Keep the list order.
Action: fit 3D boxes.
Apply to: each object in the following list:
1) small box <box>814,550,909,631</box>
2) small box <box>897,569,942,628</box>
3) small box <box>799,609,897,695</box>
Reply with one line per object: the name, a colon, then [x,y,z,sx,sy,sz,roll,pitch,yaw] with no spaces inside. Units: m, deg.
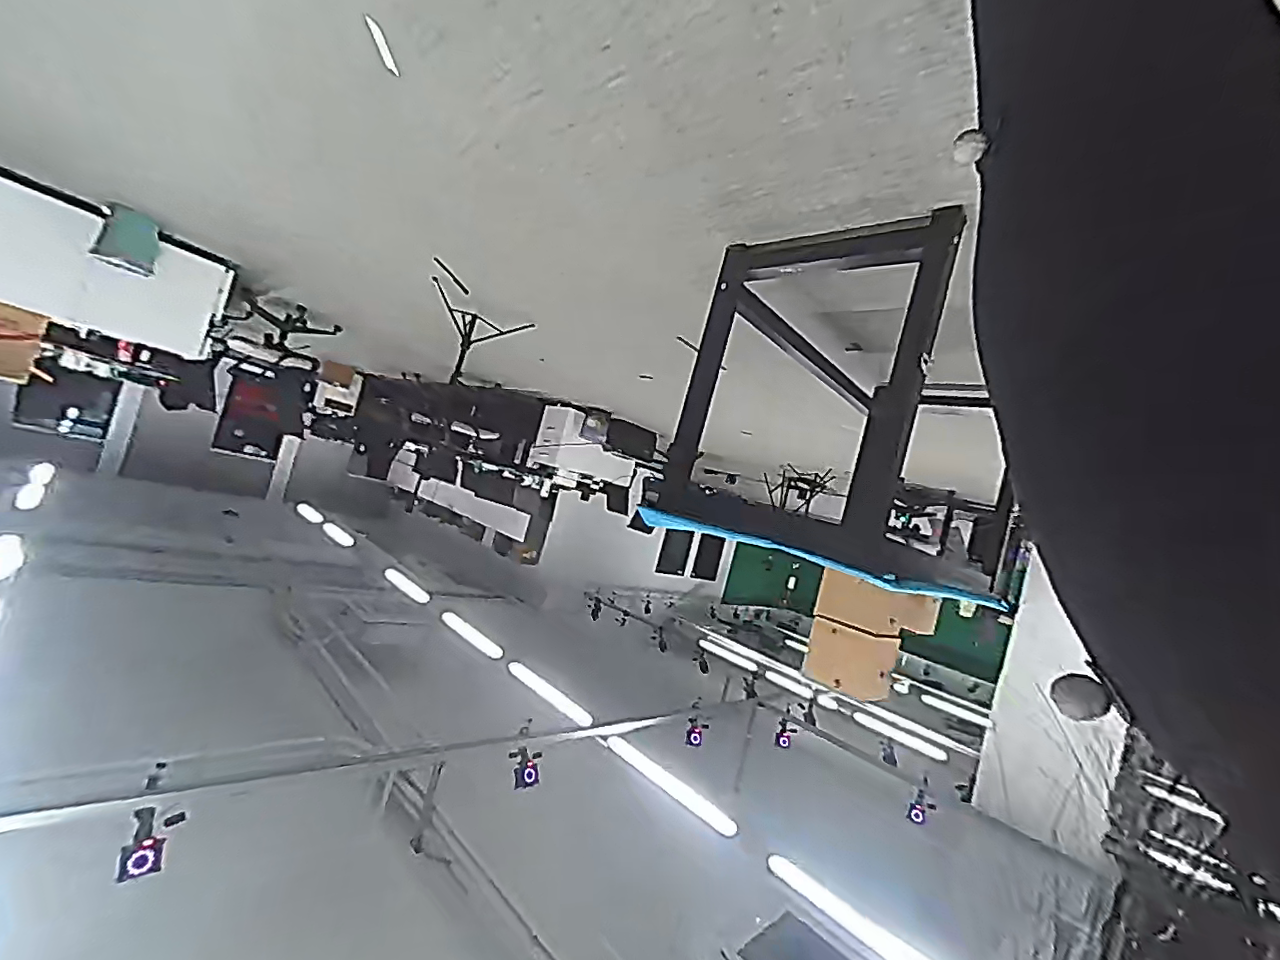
small box: [0.598,0.293,1.447,0.168,0.176,0.179,13,177,45]
small box: [0.875,0.381,1.790,0.179,0.176,0.168,11,177,42]
small box: [0.554,0.449,1.431,0.179,0.176,0.168,18,177,-41]
